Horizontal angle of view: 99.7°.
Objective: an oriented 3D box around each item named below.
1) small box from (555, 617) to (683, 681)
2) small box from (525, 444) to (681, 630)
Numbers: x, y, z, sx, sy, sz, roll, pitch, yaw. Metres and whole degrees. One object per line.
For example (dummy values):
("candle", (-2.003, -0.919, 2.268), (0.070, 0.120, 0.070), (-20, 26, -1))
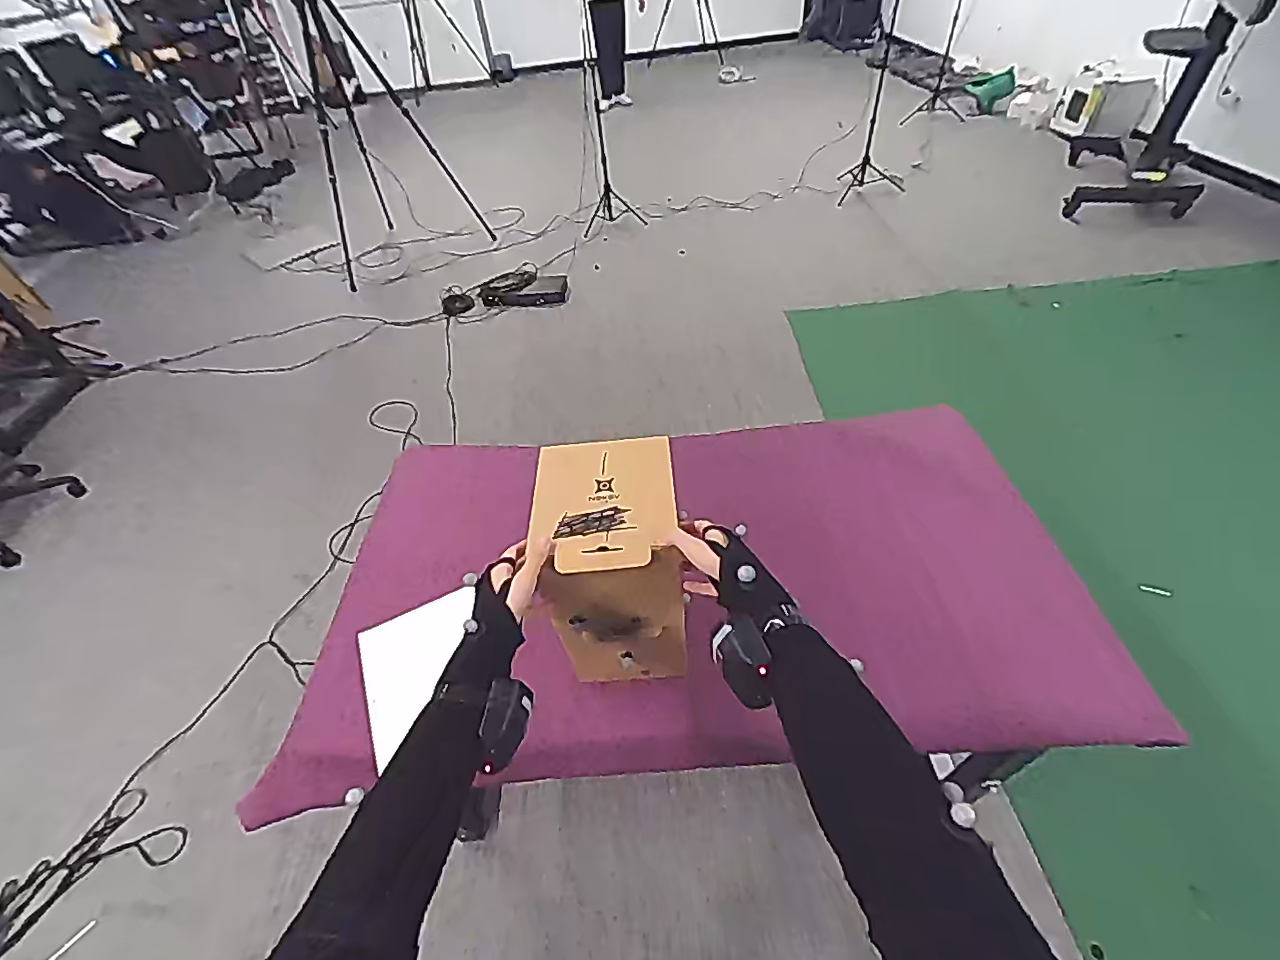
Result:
("small box", (-0.024, 0.188, 0.810), (0.168, 0.176, 0.179), (-4, 46, 2))
("small box", (-0.037, 0.078, 0.688), (0.168, 0.176, 0.179), (-4, 45, 2))
